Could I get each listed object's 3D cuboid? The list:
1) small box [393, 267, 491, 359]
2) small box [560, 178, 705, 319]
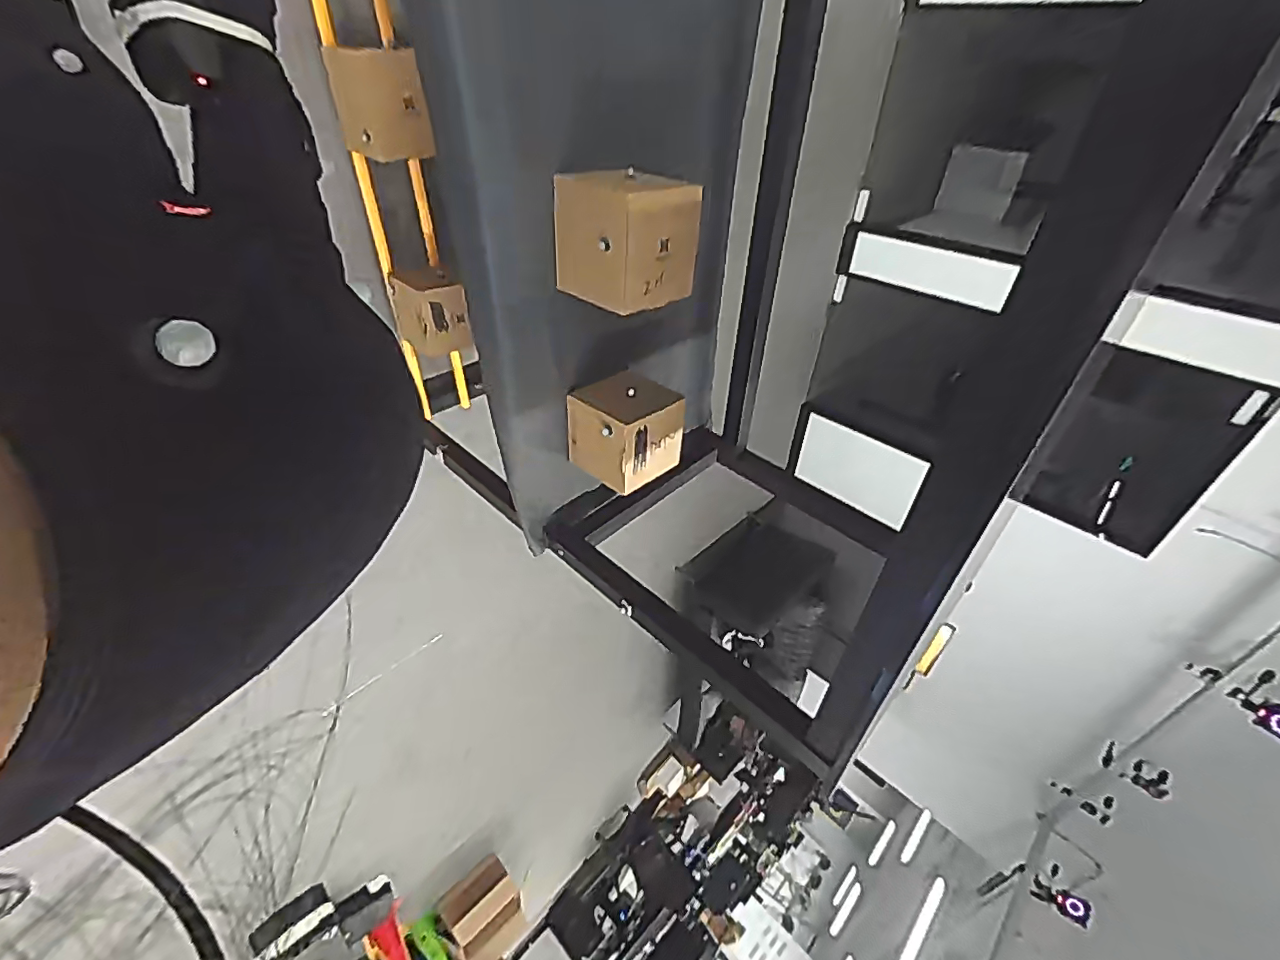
[{"bbox_3d":[-0.502,-0.425,1.365,0.179,0.176,0.168,-28,138,-37],"label":"small box"},{"bbox_3d":[-0.018,-0.384,0.879,0.168,0.176,0.179,-29,138,-37],"label":"small box"}]
